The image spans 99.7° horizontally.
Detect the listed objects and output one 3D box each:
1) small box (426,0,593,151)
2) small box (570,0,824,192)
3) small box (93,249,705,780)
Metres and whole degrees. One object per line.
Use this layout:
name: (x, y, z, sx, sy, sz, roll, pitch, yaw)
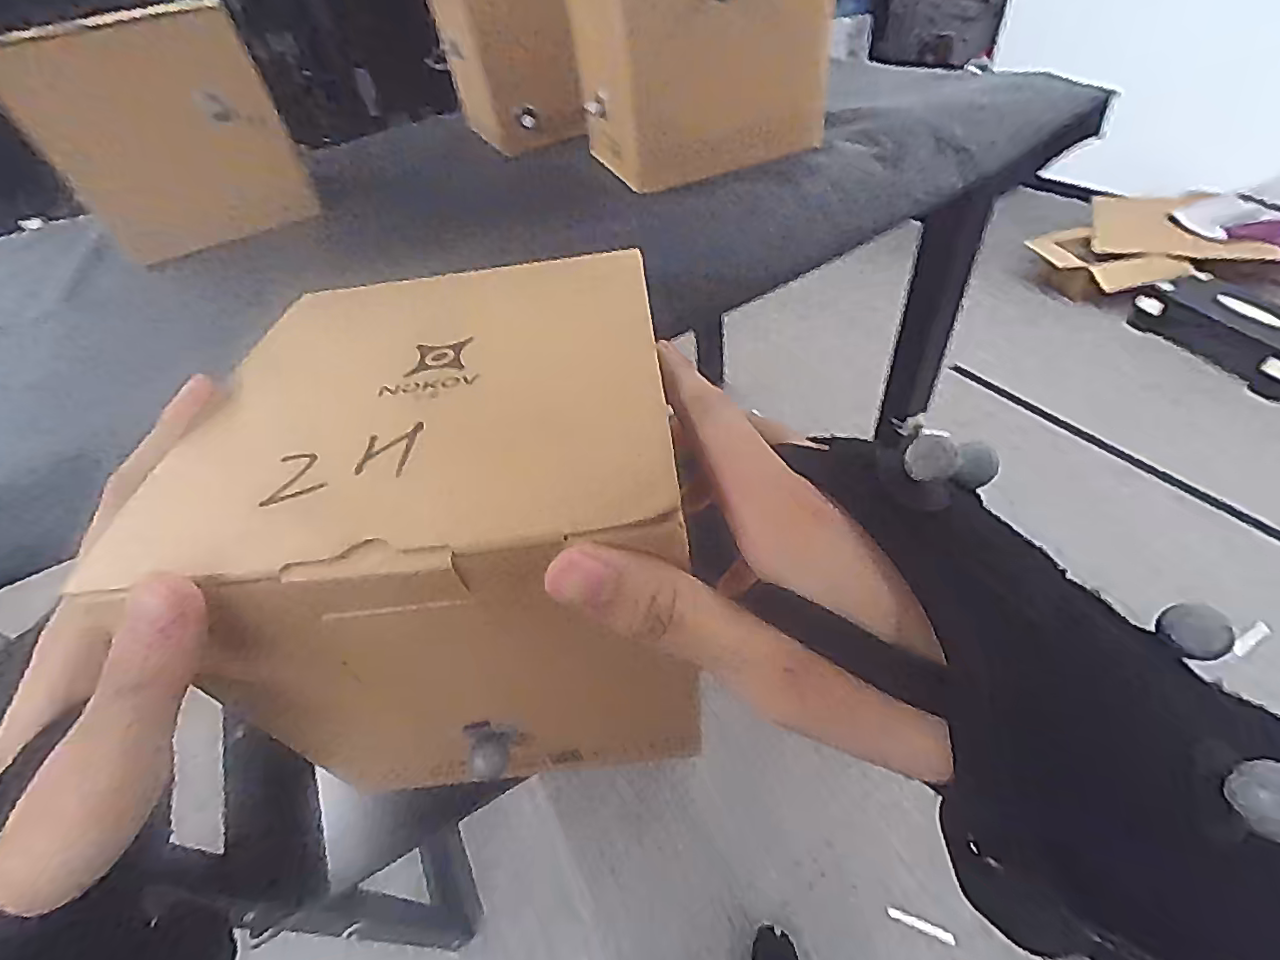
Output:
small box: (-0.130, -0.503, 0.623, 0.168, 0.176, 0.179, -25, 47, -13)
small box: (0.044, -0.381, 0.475, 0.179, 0.176, 0.168, -20, 45, -7)
small box: (-0.062, 0.016, 0.256, 0.168, 0.176, 0.179, -7, 45, 3)
